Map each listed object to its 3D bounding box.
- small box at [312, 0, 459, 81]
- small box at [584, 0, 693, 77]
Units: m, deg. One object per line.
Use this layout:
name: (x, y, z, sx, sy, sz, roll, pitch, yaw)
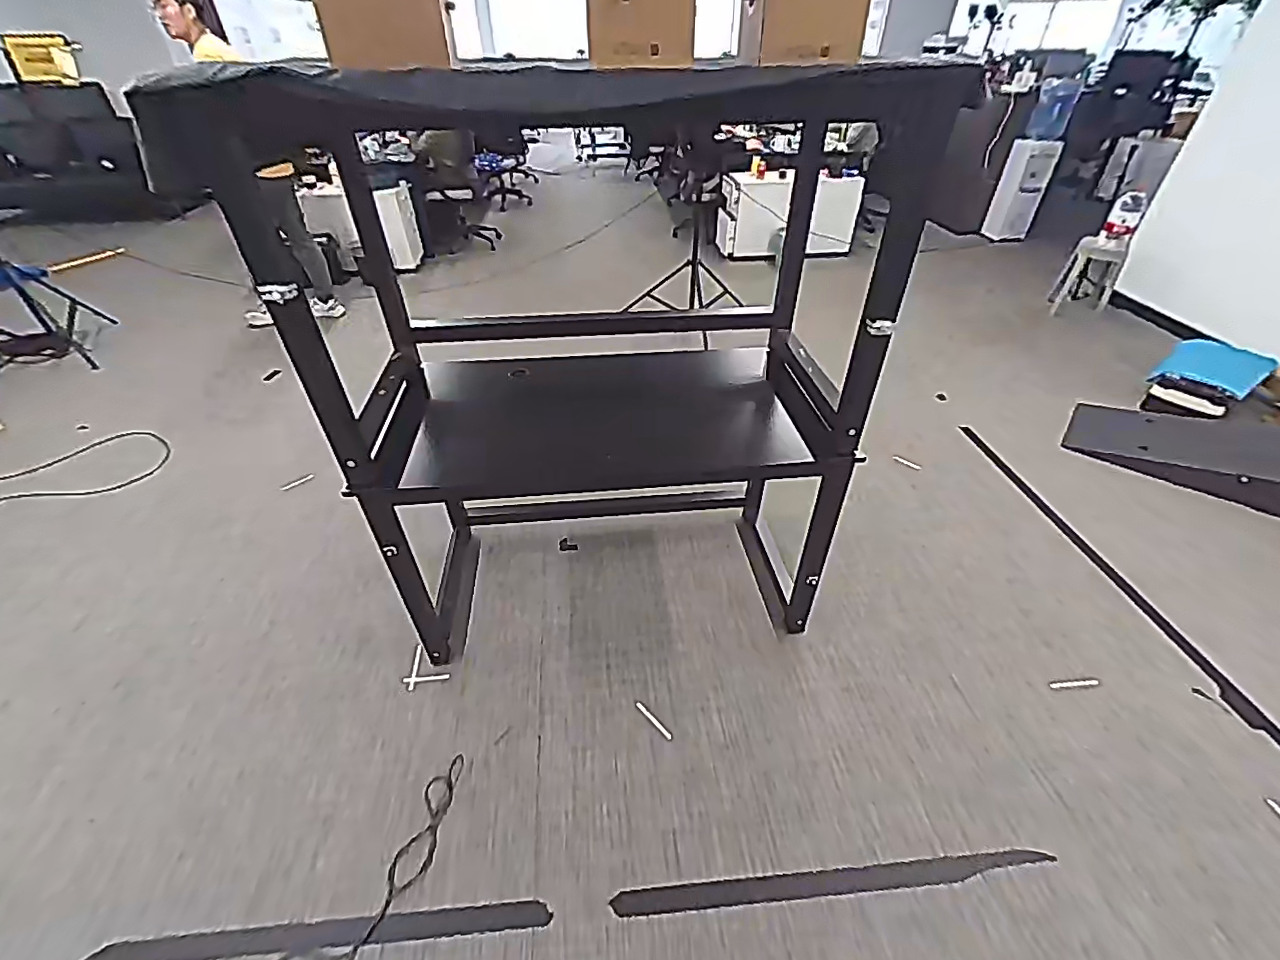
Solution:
small box: (-0.382, -0.716, 0.820, 0.179, 0.176, 0.168, -7, 38, -8)
small box: (-0.003, -0.757, 0.868, 0.168, 0.176, 0.179, -2, 38, -2)
